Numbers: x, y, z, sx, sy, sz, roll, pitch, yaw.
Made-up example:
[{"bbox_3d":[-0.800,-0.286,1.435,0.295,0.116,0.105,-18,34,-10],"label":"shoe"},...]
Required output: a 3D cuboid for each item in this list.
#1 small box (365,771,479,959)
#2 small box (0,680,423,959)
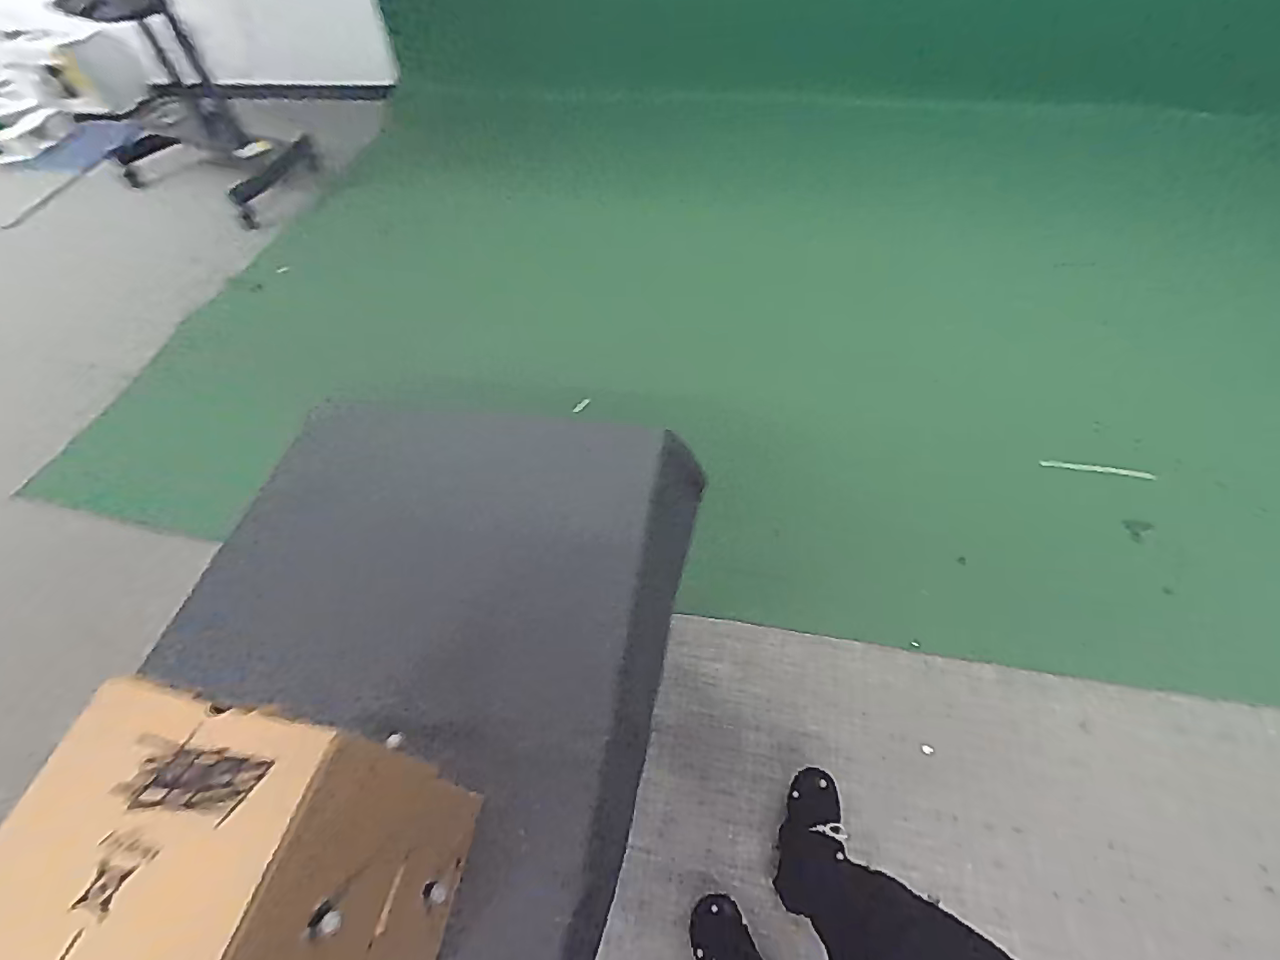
[{"bbox_3d":[-0.270,0.353,0.496,0.179,0.176,0.168,5,57,8],"label":"small box"},{"bbox_3d":[-0.273,0.257,0.362,0.168,0.176,0.179,7,58,10],"label":"small box"}]
